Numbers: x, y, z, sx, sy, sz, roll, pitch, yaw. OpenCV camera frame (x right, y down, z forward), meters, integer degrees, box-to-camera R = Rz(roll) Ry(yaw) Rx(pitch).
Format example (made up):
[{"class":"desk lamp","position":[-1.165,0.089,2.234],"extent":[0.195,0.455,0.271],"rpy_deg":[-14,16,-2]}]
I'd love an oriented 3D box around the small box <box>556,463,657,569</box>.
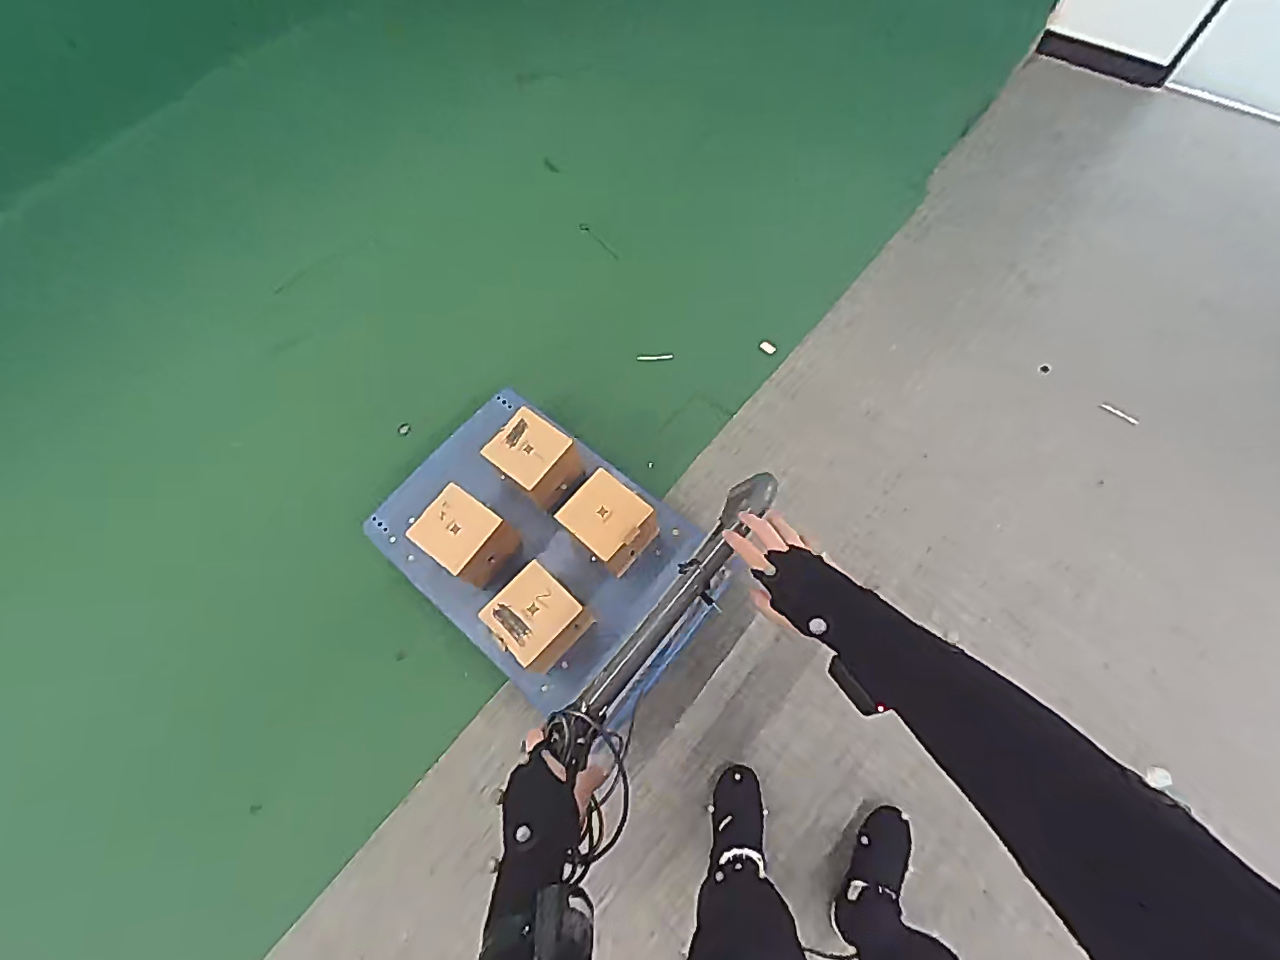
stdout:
[{"class":"small box","position":[-0.076,0.095,1.326],"extent":[0.179,0.176,0.168],"rpy_deg":[39,76,17]}]

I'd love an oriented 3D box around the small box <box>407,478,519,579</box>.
[{"class":"small box","position":[-0.429,0.129,1.343],"extent":[0.179,0.176,0.168],"rpy_deg":[33,74,17]}]

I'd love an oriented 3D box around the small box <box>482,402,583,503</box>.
[{"class":"small box","position":[-0.272,-0.064,1.406],"extent":[0.179,0.176,0.168],"rpy_deg":[36,76,16]}]
